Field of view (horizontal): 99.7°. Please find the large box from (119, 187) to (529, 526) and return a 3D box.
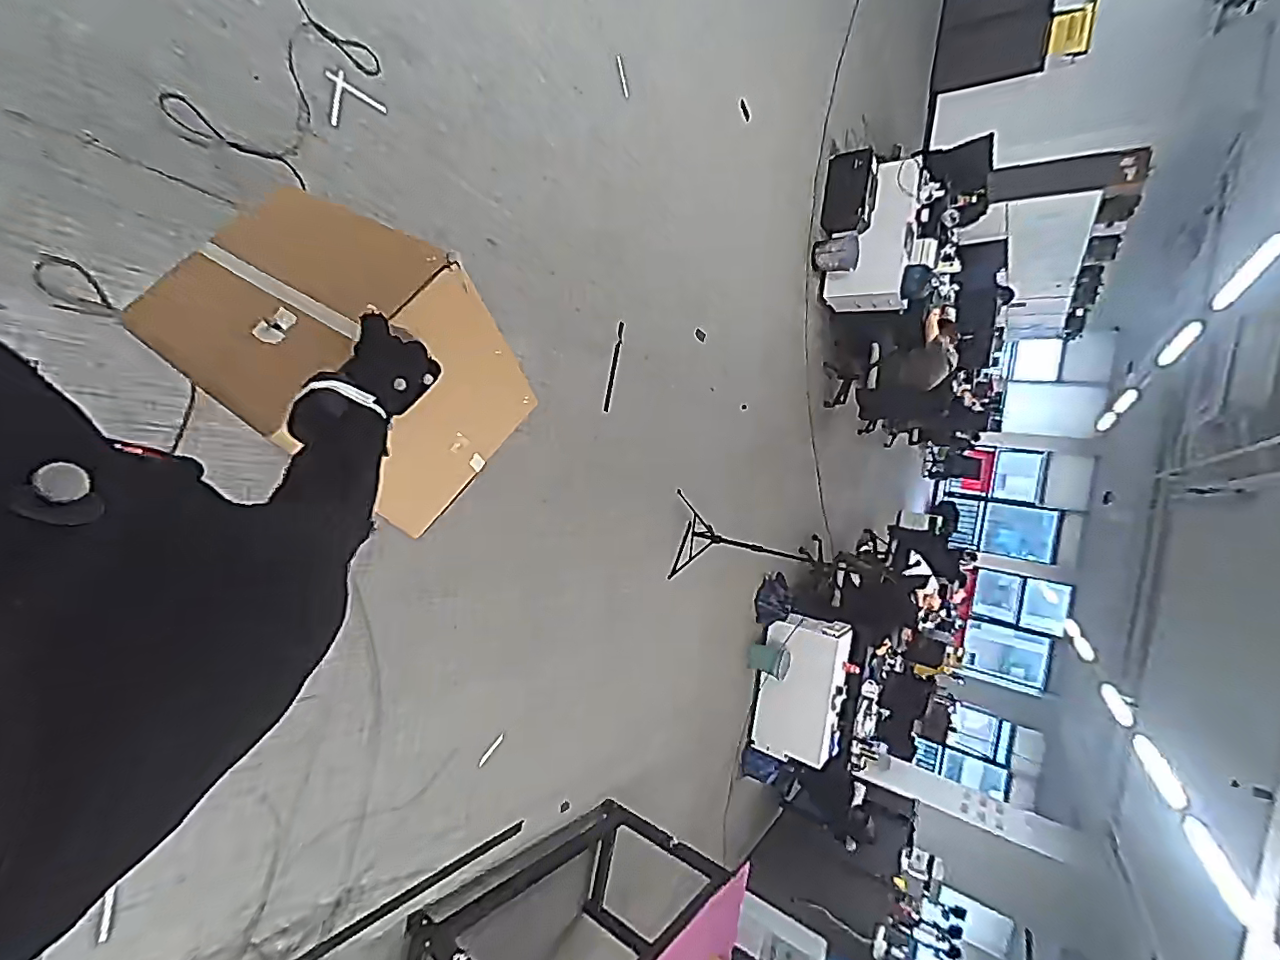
[{"bbox_3d":[-0.459,-0.187,0.857,0.320,0.408,0.320,-55,158,-15],"label":"large box"}]
